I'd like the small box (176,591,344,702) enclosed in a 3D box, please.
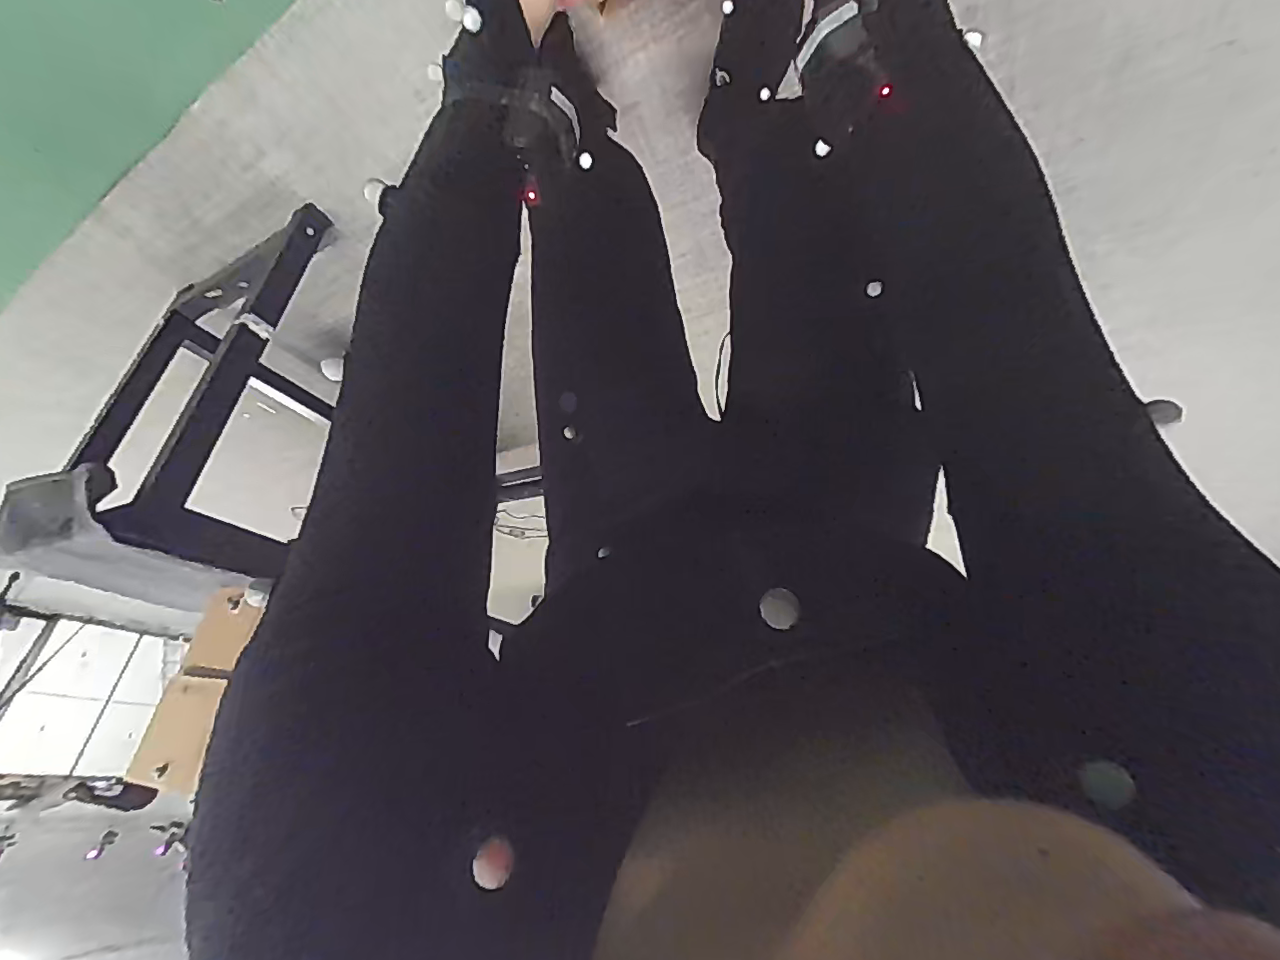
[{"bbox_3d":[-0.709,0.317,1.030,0.168,0.176,0.179,-8,149,25],"label":"small box"}]

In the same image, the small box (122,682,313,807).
[{"bbox_3d":[-0.715,0.455,0.938,0.168,0.176,0.179,-6,151,22],"label":"small box"}]
